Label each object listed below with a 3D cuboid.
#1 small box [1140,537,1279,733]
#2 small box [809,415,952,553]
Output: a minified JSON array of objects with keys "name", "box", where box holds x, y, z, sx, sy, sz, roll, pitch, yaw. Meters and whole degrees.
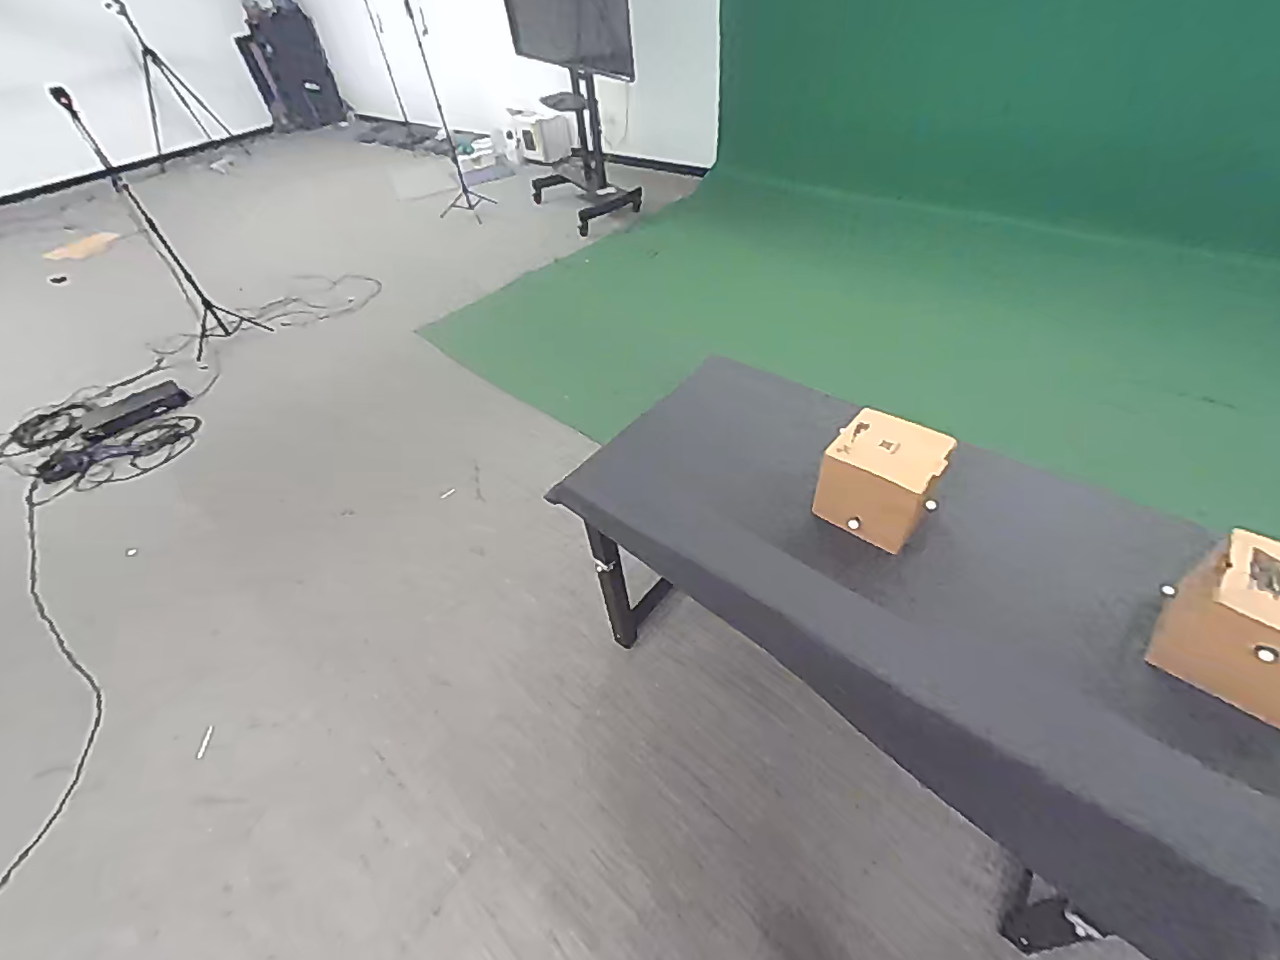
[{"name":"small box","box":[0.874,0.222,0.772,0.179,0.176,0.168,31,54,31]},{"name":"small box","box":[0.447,0.012,1.025,0.179,0.176,0.168,30,53,30]}]
